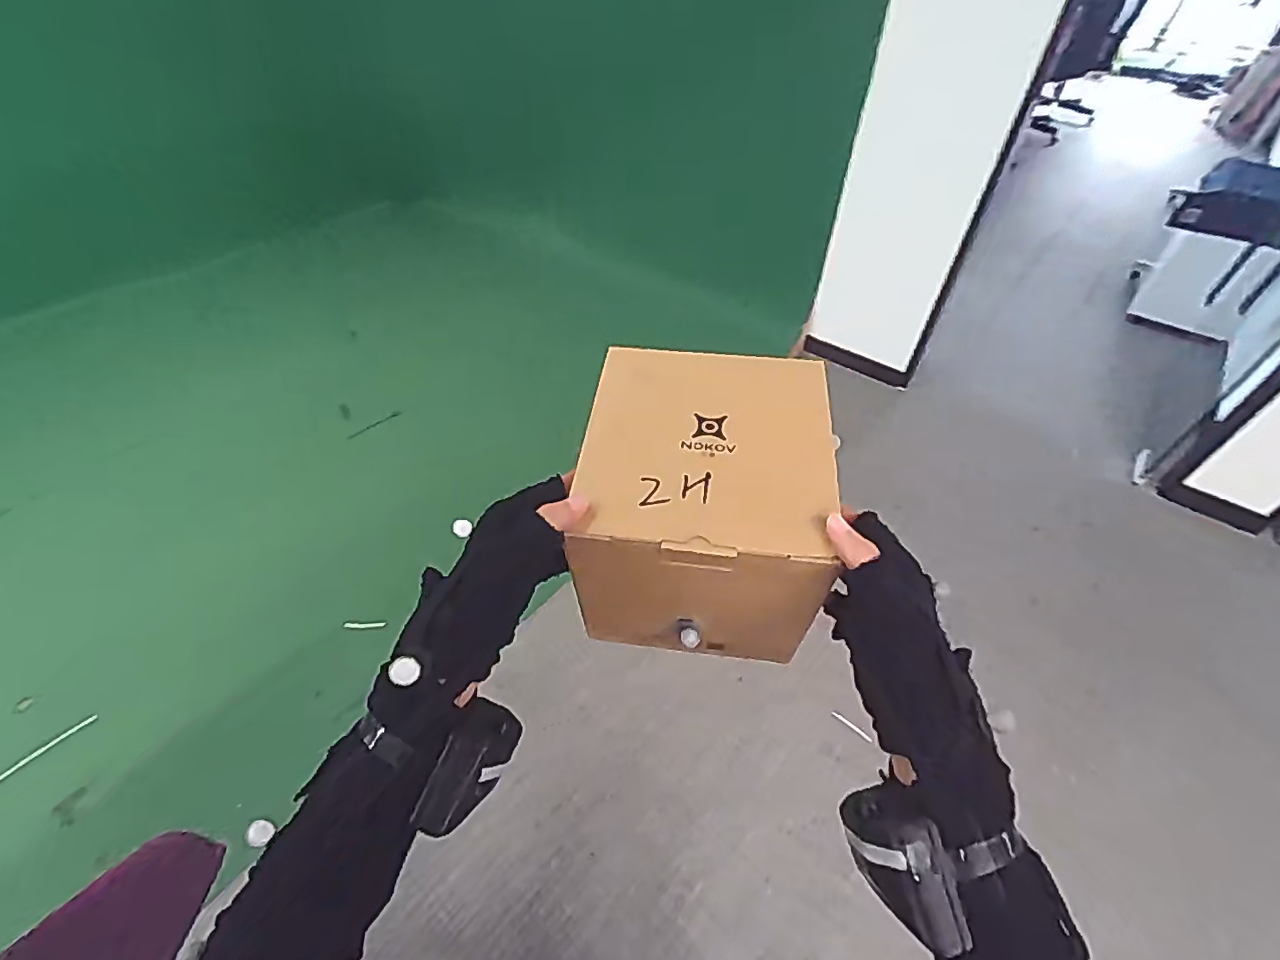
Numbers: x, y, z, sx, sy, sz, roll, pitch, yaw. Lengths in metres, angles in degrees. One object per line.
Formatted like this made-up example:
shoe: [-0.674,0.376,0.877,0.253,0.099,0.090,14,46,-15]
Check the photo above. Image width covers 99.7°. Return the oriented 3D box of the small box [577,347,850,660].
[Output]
small box: [0.056,0.020,0.432,0.168,0.176,0.179,6,52,7]
